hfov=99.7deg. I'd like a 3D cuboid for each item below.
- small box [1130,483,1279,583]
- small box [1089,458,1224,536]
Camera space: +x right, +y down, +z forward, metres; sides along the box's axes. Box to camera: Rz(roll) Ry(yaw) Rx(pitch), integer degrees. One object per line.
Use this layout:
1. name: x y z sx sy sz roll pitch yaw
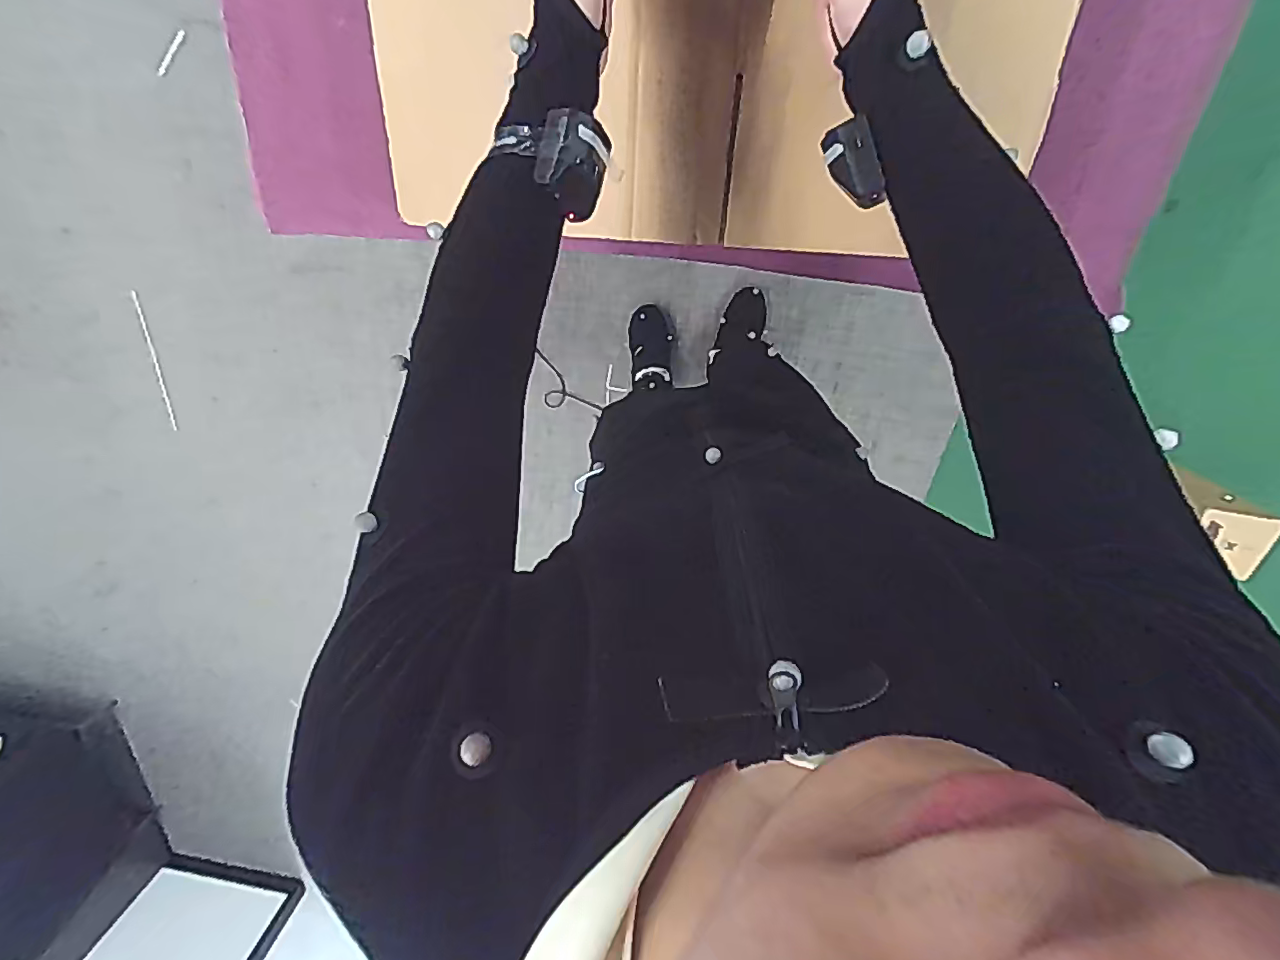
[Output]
1. small box: 1.358 0.121 1.306 0.179 0.176 0.168 9 116 3
2. small box: 1.379 0.054 1.454 0.179 0.176 0.168 9 115 4
